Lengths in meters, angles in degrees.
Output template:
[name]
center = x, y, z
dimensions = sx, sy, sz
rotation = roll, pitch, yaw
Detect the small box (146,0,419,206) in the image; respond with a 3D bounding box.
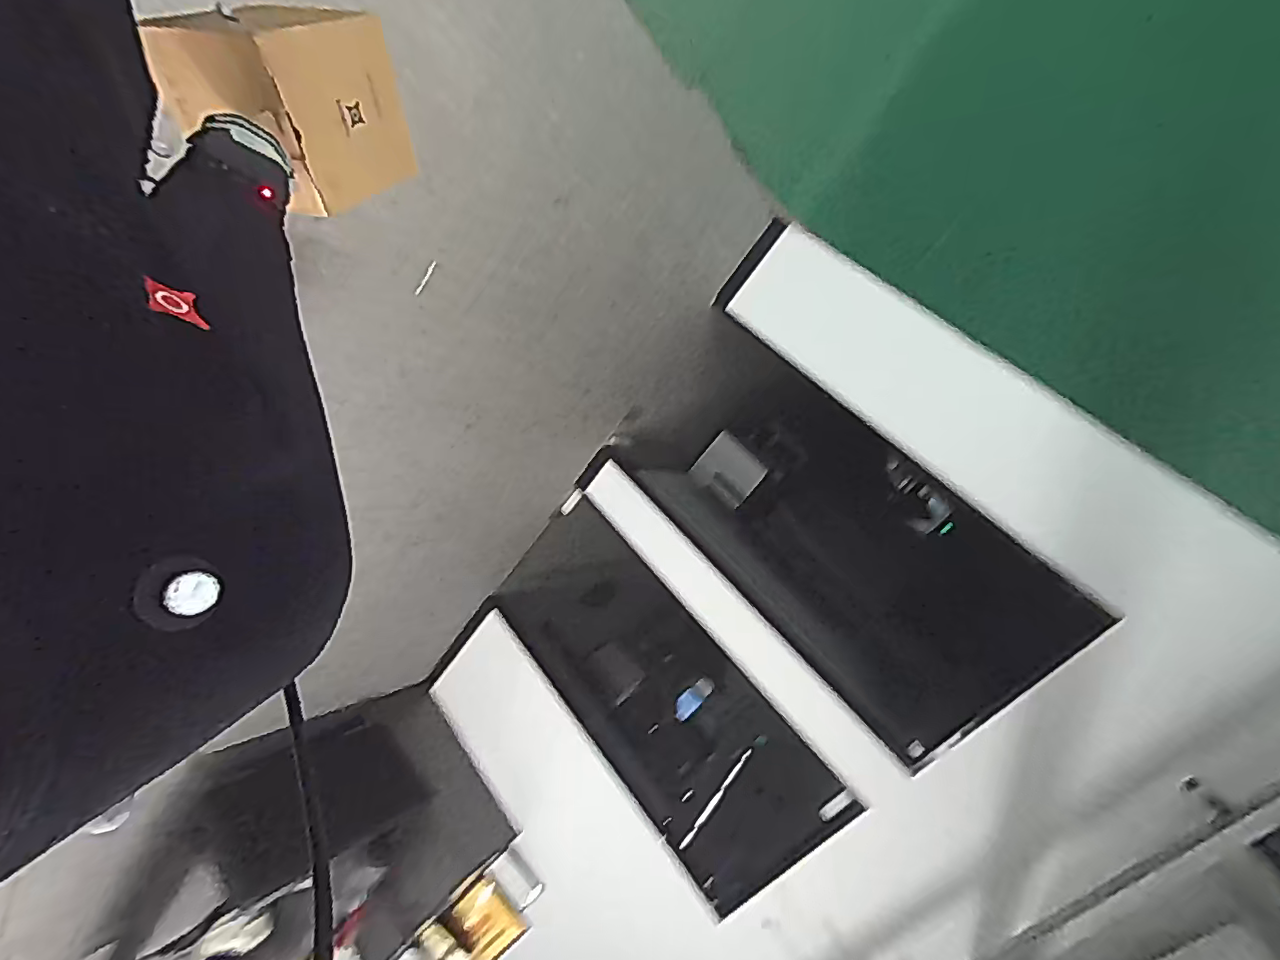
[small box]
center = -0.392, -0.433, 0.610
dimensions = 0.168, 0.176, 0.179
rotation = 91, 18, -48
